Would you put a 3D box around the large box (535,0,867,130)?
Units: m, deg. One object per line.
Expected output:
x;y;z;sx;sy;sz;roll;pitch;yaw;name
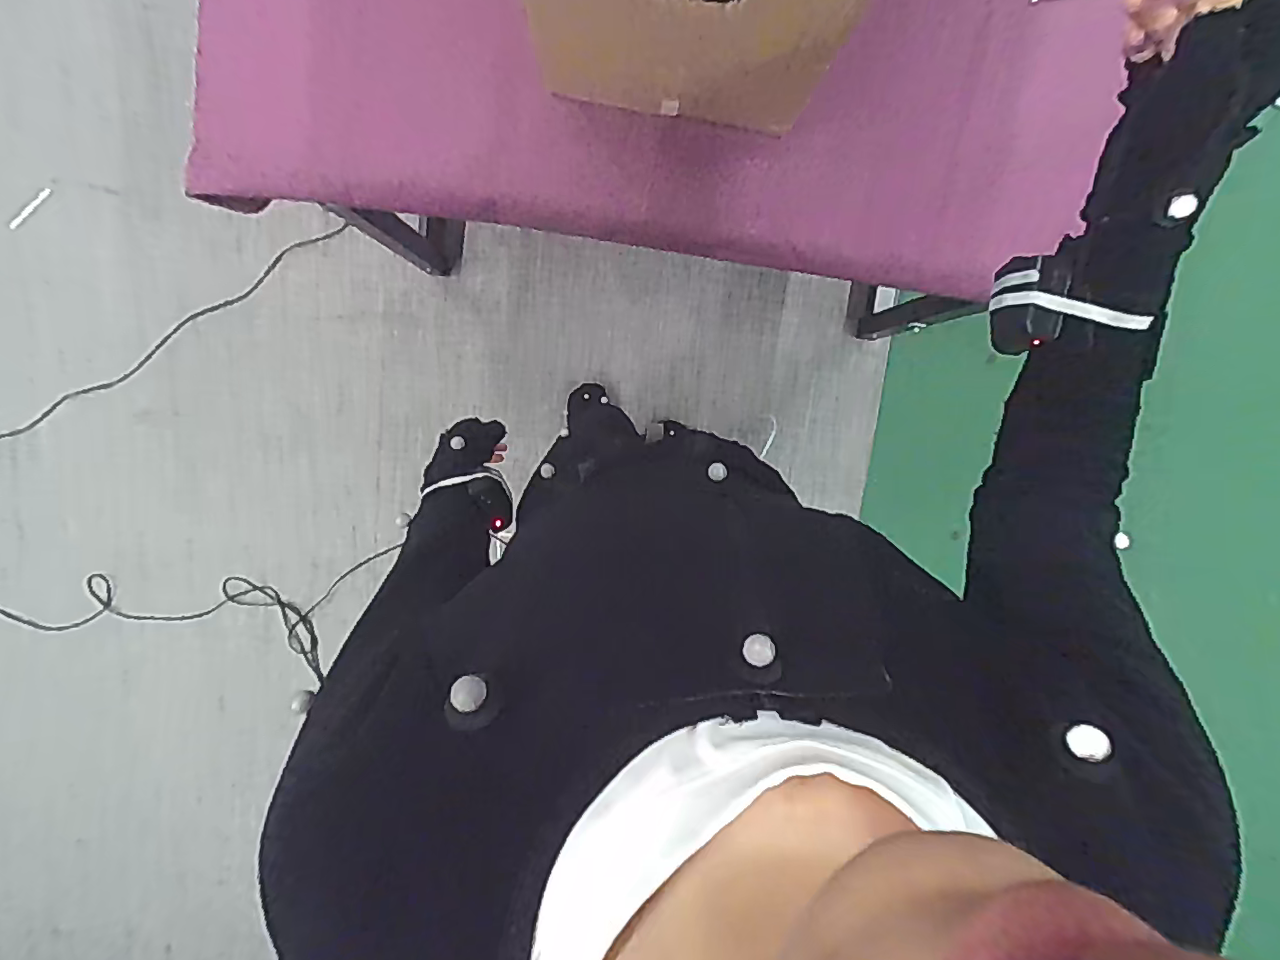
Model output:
0.072;-0.642;0.515;0.320;0.320;0.408;9;99;-3;large box
